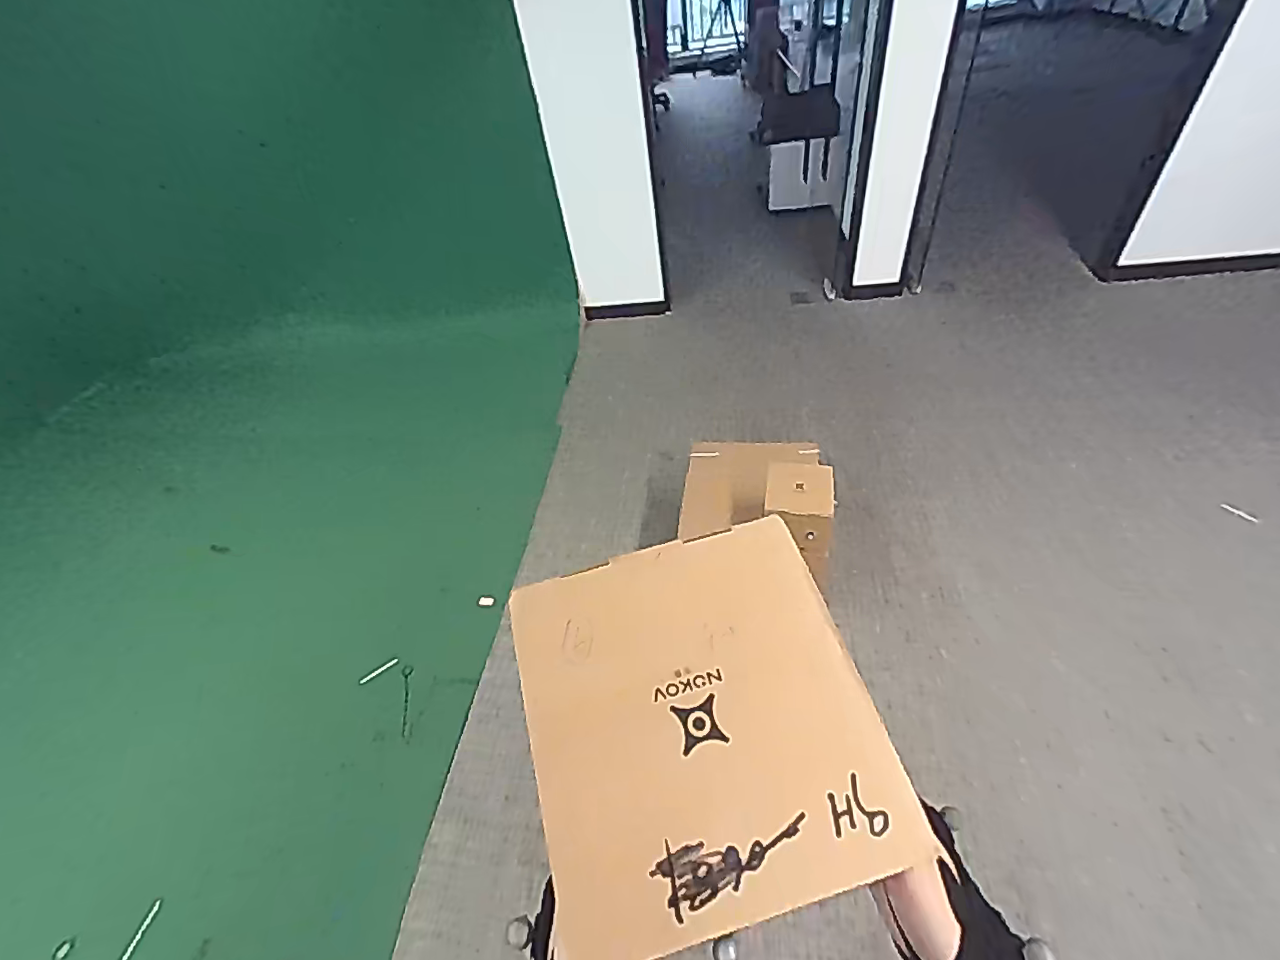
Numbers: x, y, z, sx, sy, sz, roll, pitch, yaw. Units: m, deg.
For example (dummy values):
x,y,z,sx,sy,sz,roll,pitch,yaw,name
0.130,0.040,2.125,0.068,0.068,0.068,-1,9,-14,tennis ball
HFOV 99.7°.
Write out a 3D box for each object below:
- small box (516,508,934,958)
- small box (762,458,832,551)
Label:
x,y,z,sx,sy,sz,roll,pitch,yaw,name
0.033,0.148,0.337,0.168,0.176,0.179,-15,58,-4,small box
0.408,0.065,1.416,0.168,0.176,0.179,5,46,14,small box
